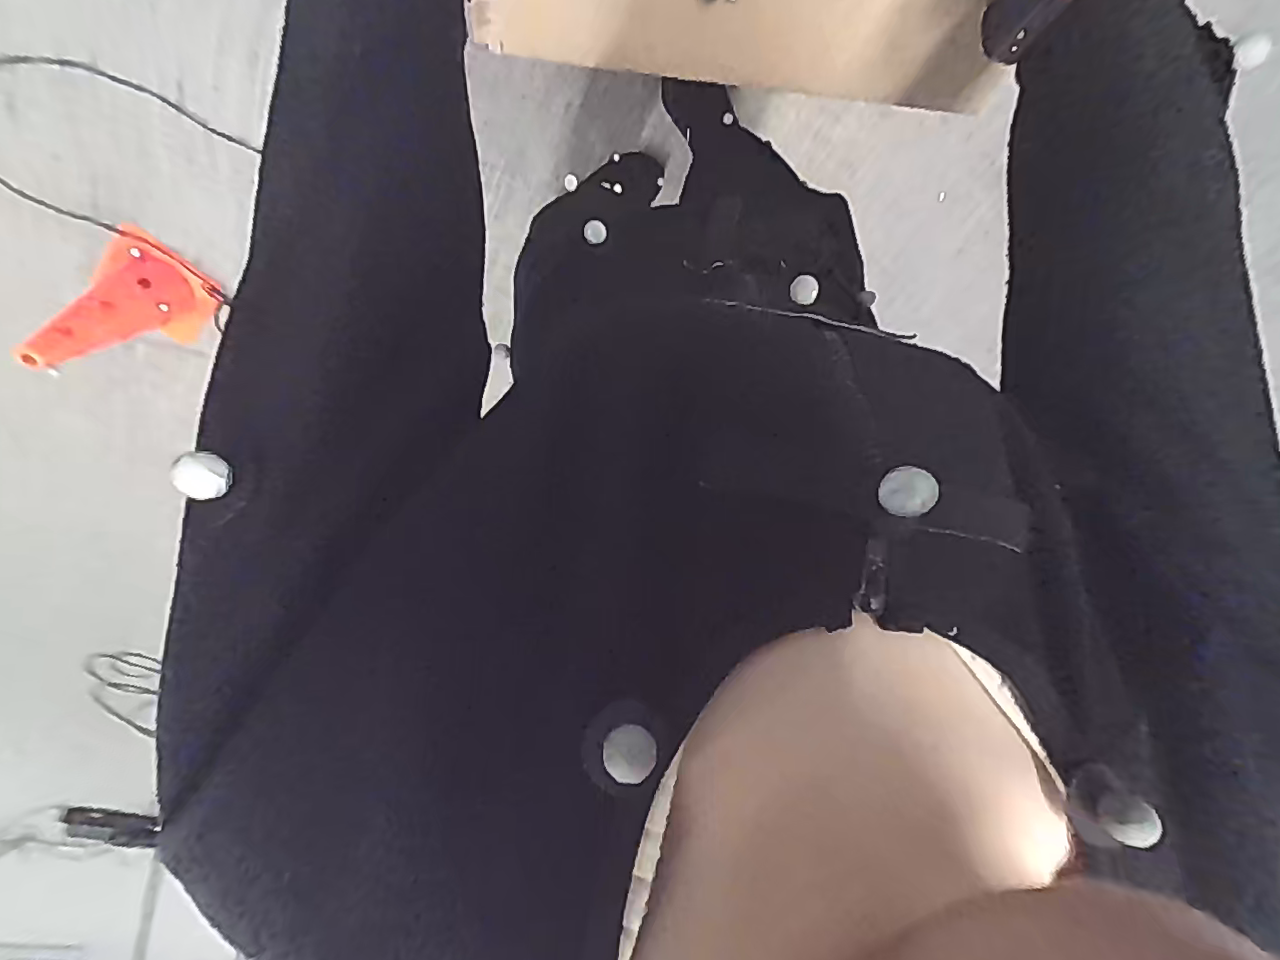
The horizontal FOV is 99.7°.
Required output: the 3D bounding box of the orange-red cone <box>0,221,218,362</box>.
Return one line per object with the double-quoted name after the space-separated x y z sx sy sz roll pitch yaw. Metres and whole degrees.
-1.041 -0.319 1.033 0.199 0.360 0.198 -33 122 22 "orange-red cone"
